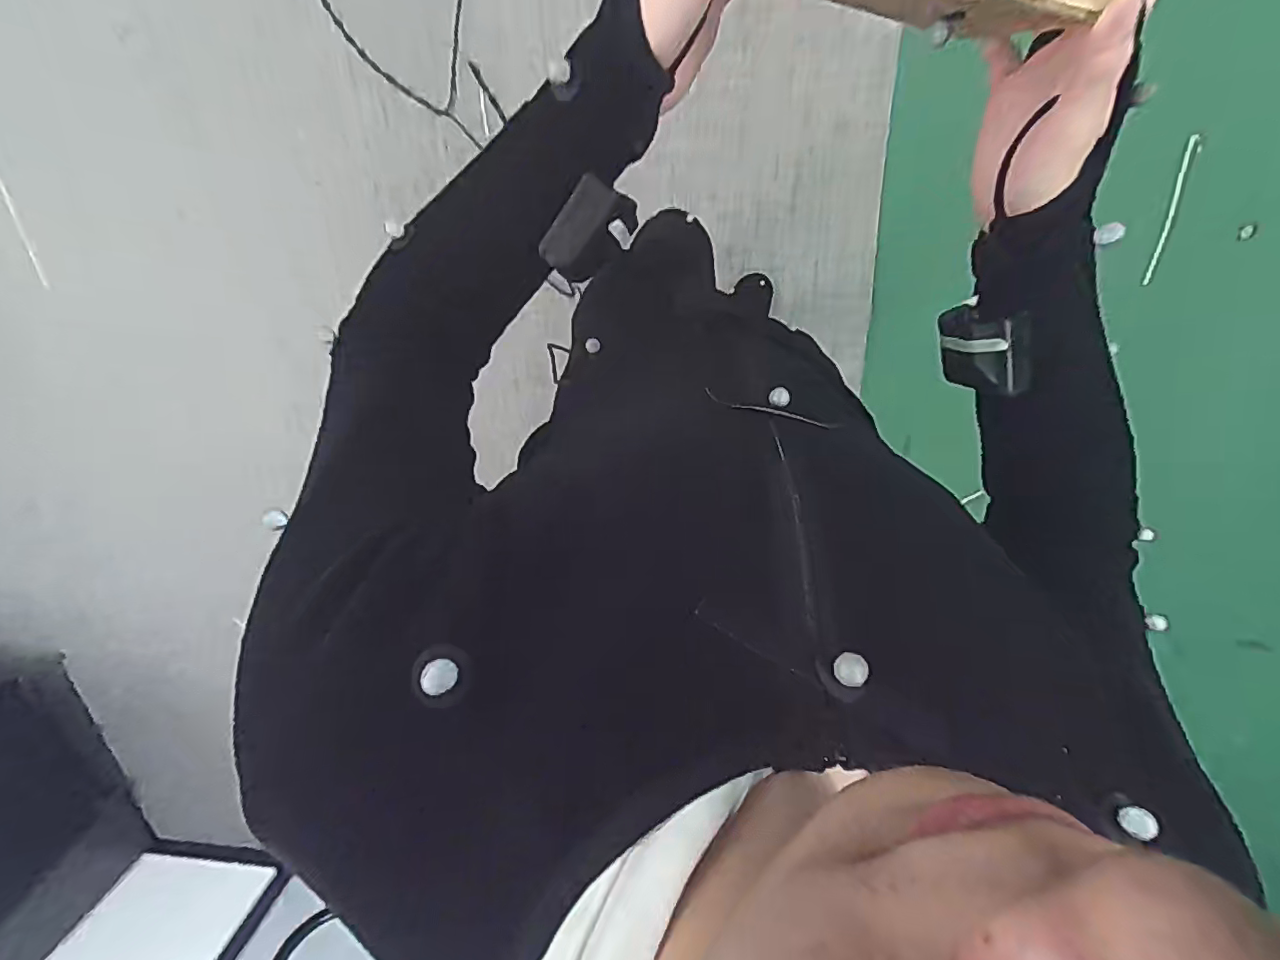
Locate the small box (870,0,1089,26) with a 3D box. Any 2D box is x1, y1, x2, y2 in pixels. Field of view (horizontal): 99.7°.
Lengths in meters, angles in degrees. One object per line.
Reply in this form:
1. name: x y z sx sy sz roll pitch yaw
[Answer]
1. small box: 0.152 -0.344 0.252 0.168 0.176 0.179 14 127 -4
